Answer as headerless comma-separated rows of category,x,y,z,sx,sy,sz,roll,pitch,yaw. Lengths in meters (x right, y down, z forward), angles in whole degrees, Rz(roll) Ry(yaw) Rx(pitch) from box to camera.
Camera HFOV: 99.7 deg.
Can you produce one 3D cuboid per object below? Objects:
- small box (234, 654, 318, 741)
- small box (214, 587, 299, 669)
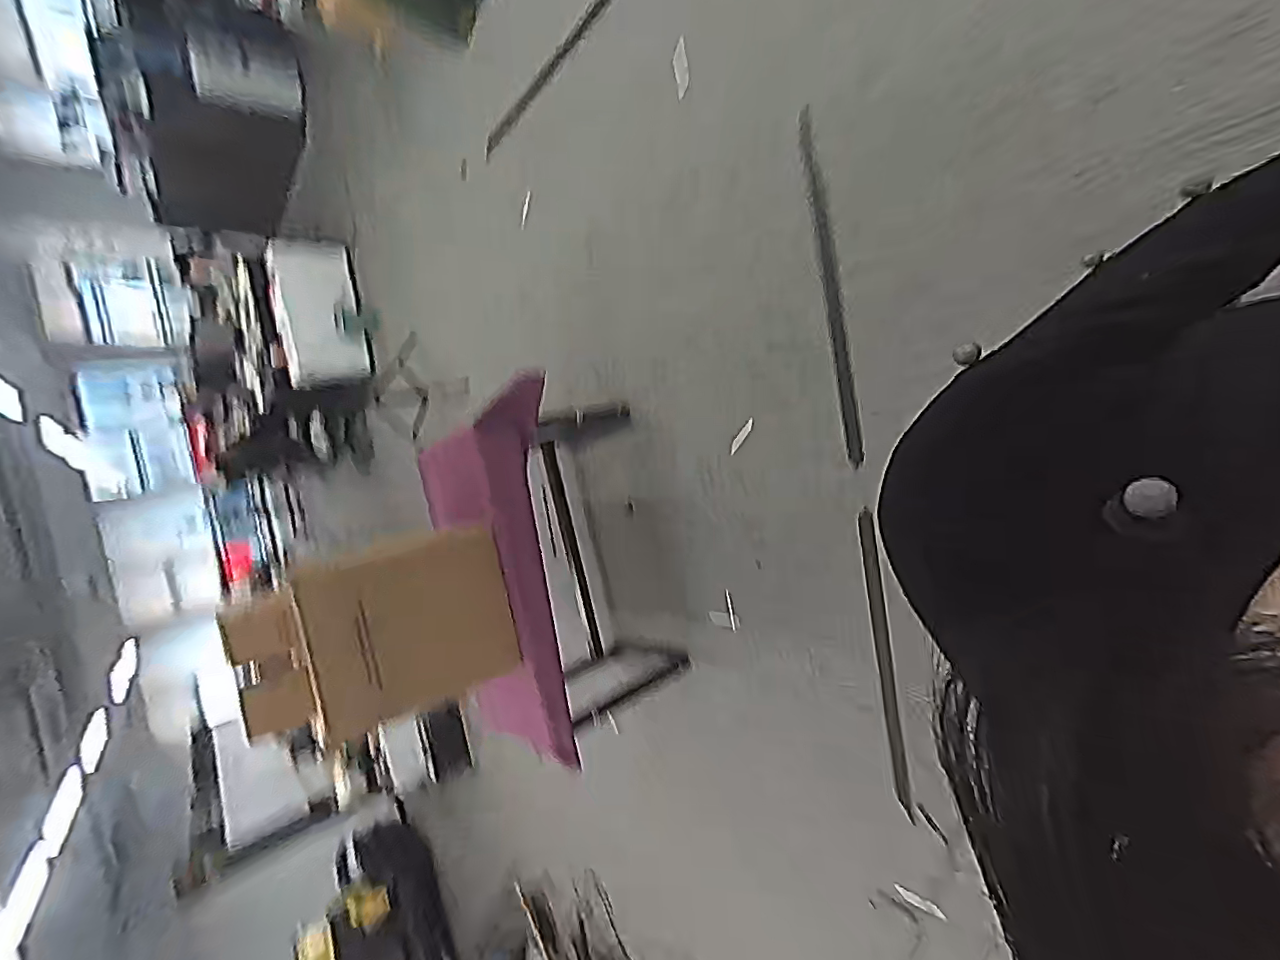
small box,-1.064,0.625,1.580,0.168,0.176,0.179,-17,88,51
small box,-1.115,0.423,1.577,0.179,0.176,0.168,-1,101,48
